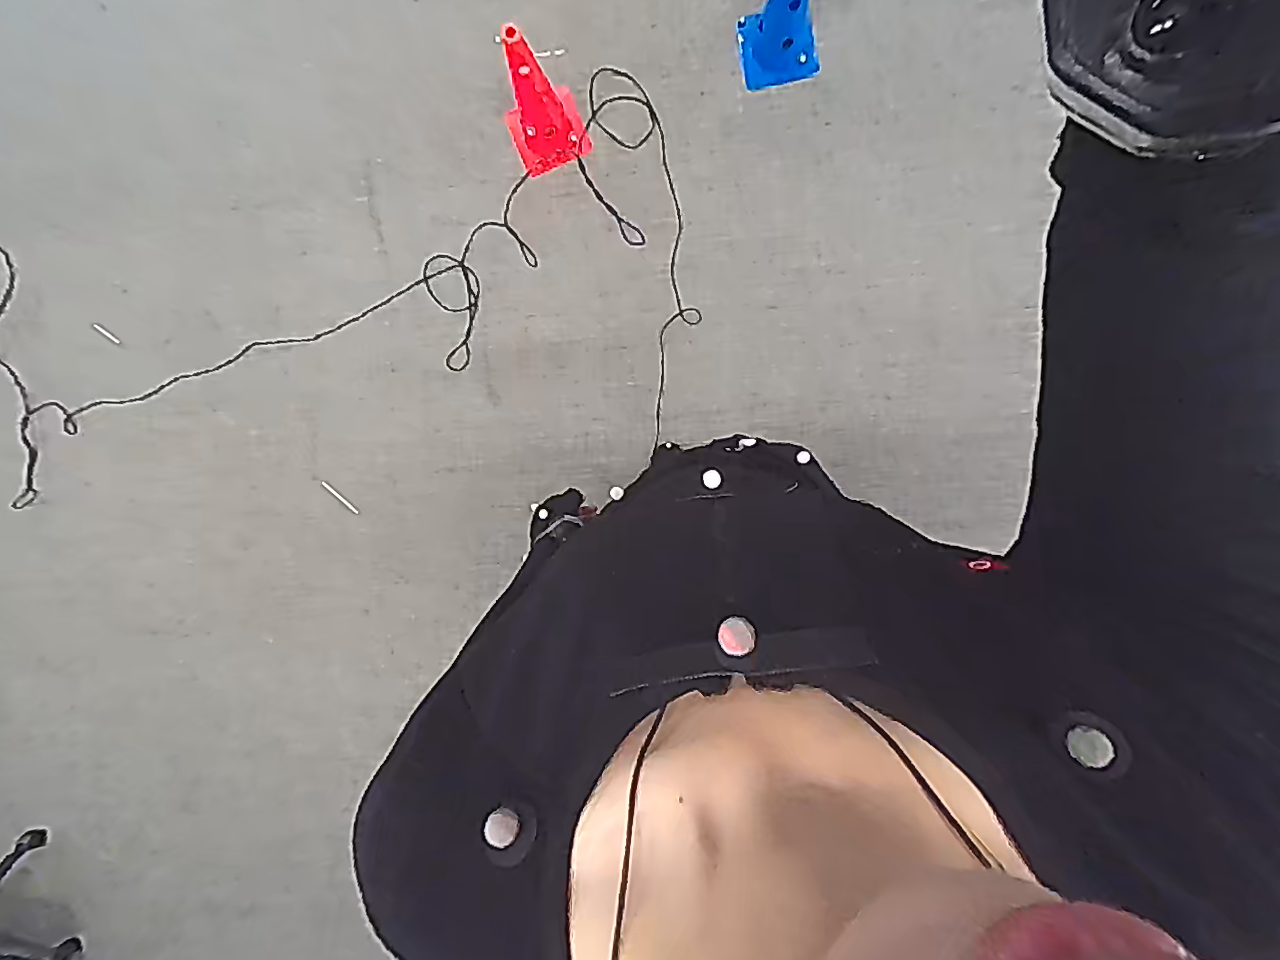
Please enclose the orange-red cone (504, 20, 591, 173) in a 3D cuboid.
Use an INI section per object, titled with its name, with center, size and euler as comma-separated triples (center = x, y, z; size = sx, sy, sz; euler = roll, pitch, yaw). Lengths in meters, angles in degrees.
[orange-red cone]
center = -0.265, -0.973, 1.335
size = 0.198, 0.360, 0.199
euler = -22, 88, 4
